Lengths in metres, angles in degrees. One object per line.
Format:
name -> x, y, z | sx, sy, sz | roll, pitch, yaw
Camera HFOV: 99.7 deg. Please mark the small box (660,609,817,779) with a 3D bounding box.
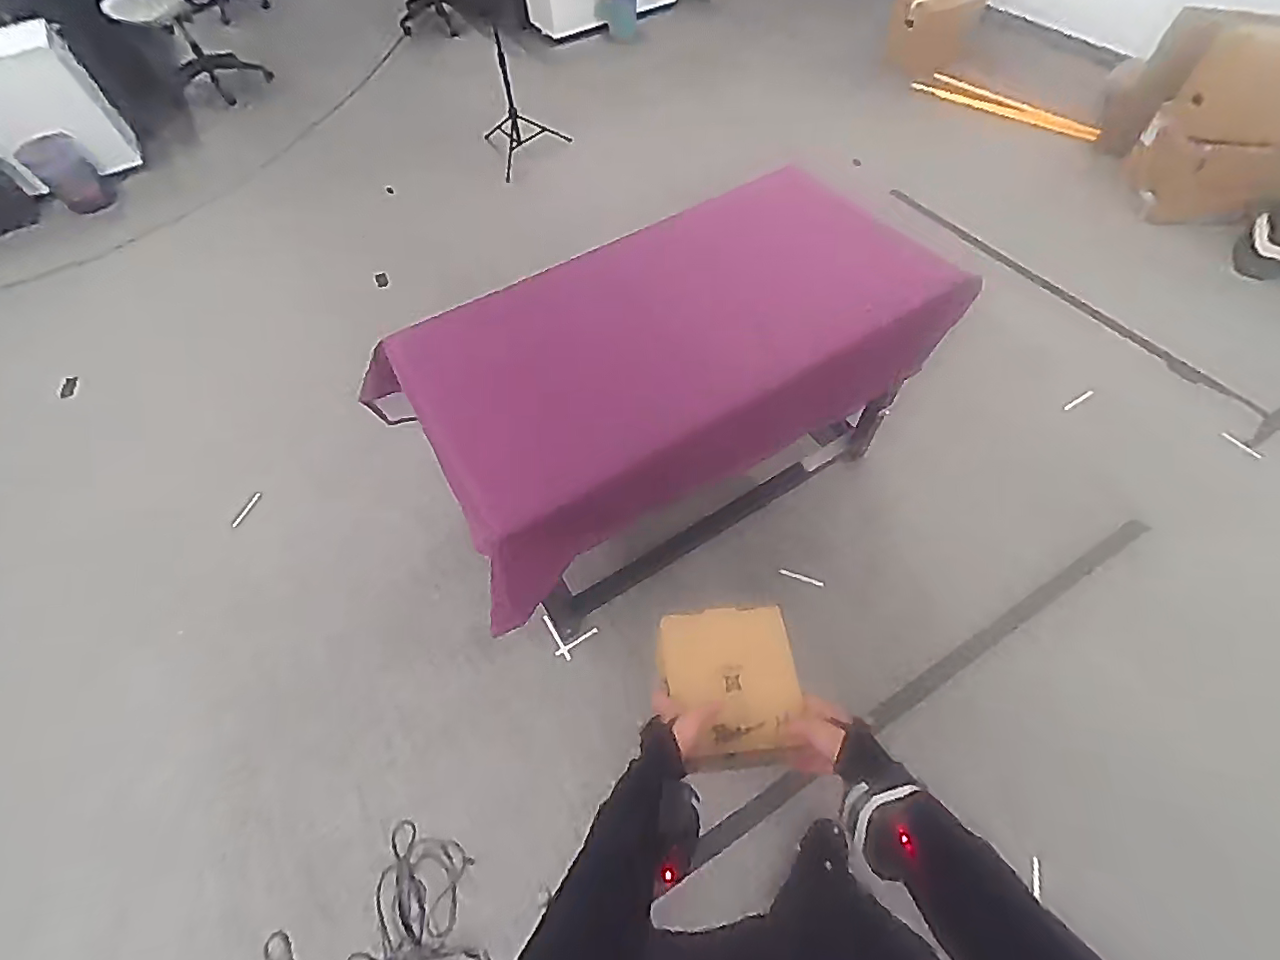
small box -> 0.119, 0.295, 0.740 | 0.168, 0.176, 0.179 | -5, 56, -3
